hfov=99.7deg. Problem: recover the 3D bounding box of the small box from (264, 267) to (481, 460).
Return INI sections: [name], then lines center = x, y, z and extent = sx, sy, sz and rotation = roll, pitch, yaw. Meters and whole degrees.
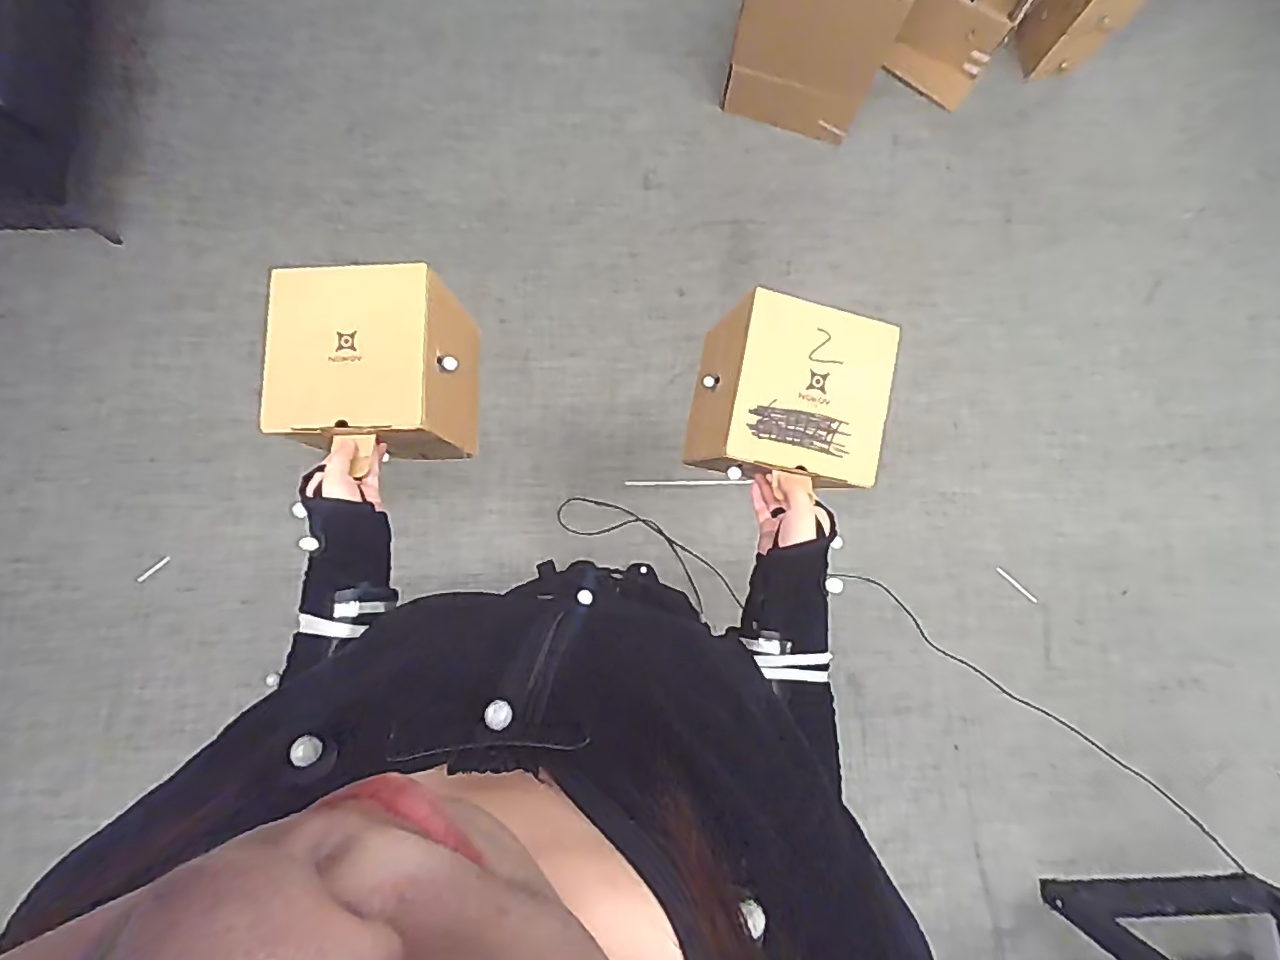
[small box]
center = -0.292, -0.123, 0.626
extent = 0.168, 0.176, 0.179
rotation = -1, 83, 1
